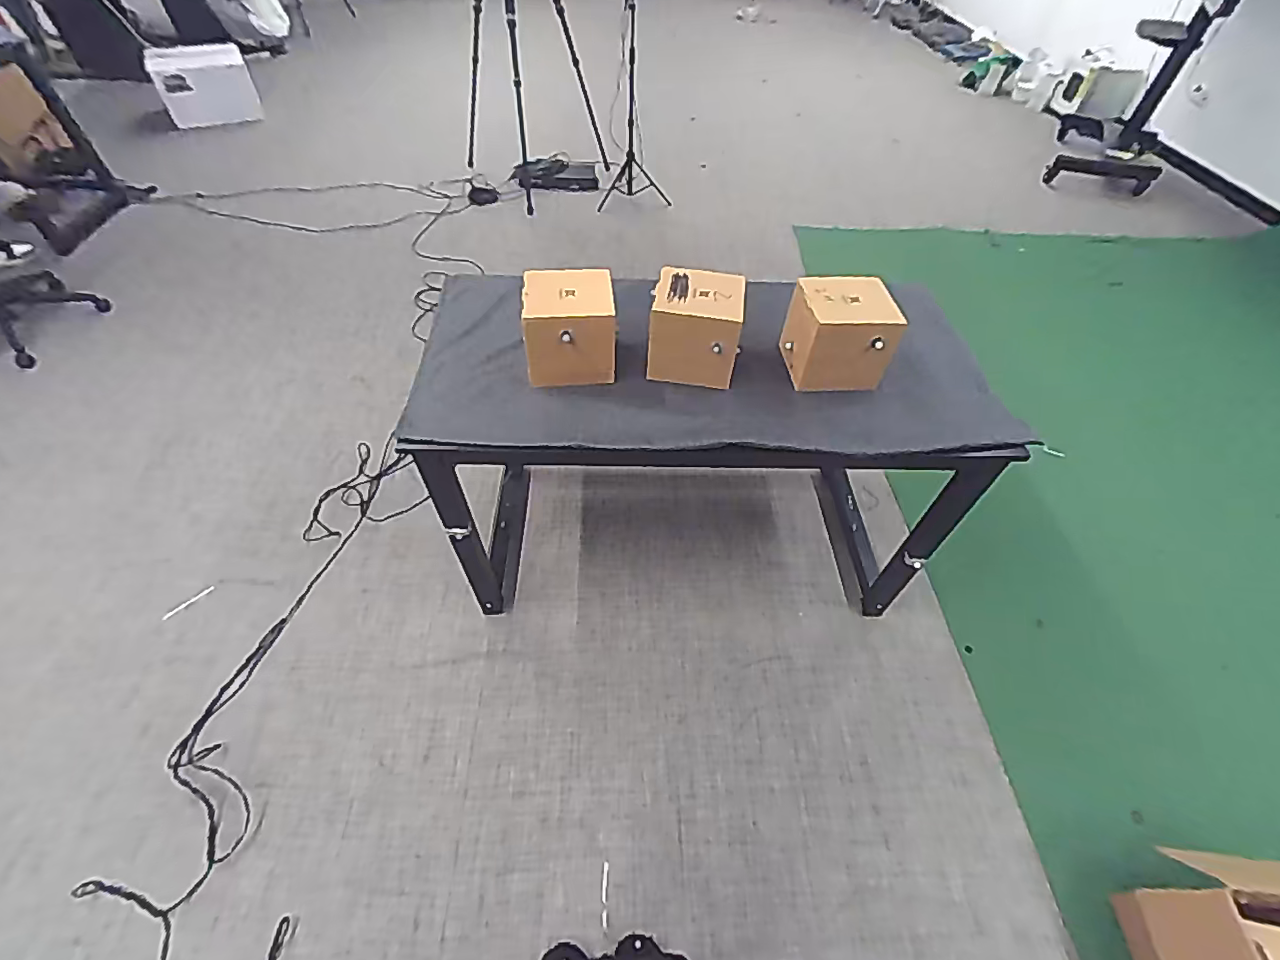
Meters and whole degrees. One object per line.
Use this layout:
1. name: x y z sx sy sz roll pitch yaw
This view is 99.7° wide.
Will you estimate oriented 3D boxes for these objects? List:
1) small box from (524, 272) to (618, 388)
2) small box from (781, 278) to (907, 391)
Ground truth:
1. small box: -0.139 -0.306 1.114 0.179 0.176 0.168 -4 51 -5
2. small box: 0.413 -0.299 1.126 0.179 0.176 0.168 -2 50 -3
